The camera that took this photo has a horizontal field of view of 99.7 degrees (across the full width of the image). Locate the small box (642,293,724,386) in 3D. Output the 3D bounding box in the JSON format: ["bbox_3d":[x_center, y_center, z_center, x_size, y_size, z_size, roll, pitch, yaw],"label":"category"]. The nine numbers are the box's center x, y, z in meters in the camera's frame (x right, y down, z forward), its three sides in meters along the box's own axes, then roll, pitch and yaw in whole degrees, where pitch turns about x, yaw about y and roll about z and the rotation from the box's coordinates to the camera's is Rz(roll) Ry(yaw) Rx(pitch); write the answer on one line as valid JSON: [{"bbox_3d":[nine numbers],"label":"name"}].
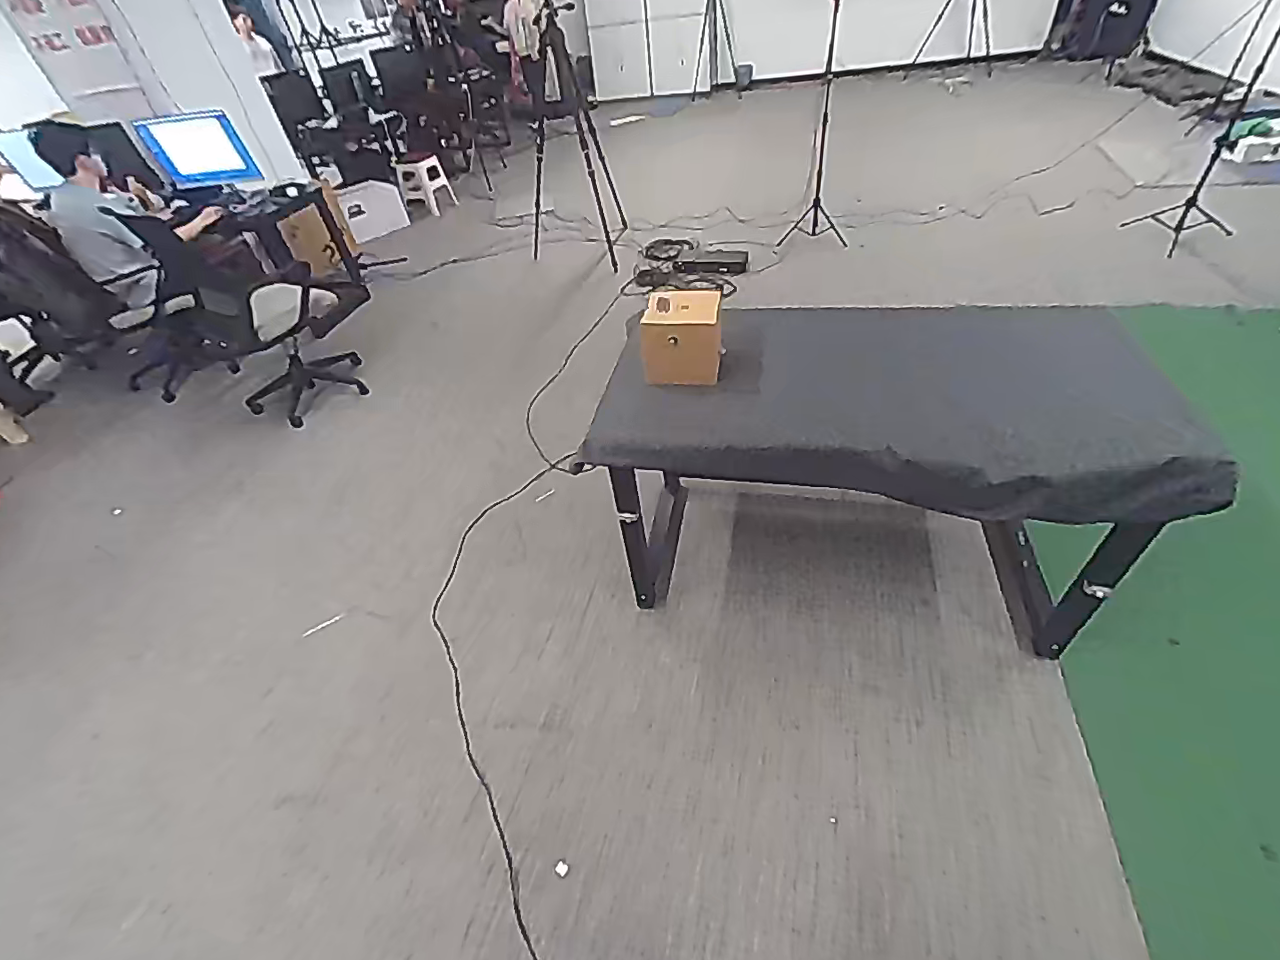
[{"bbox_3d":[0.112,-0.346,1.336,0.179,0.176,0.168,4,44,11],"label":"small box"}]
